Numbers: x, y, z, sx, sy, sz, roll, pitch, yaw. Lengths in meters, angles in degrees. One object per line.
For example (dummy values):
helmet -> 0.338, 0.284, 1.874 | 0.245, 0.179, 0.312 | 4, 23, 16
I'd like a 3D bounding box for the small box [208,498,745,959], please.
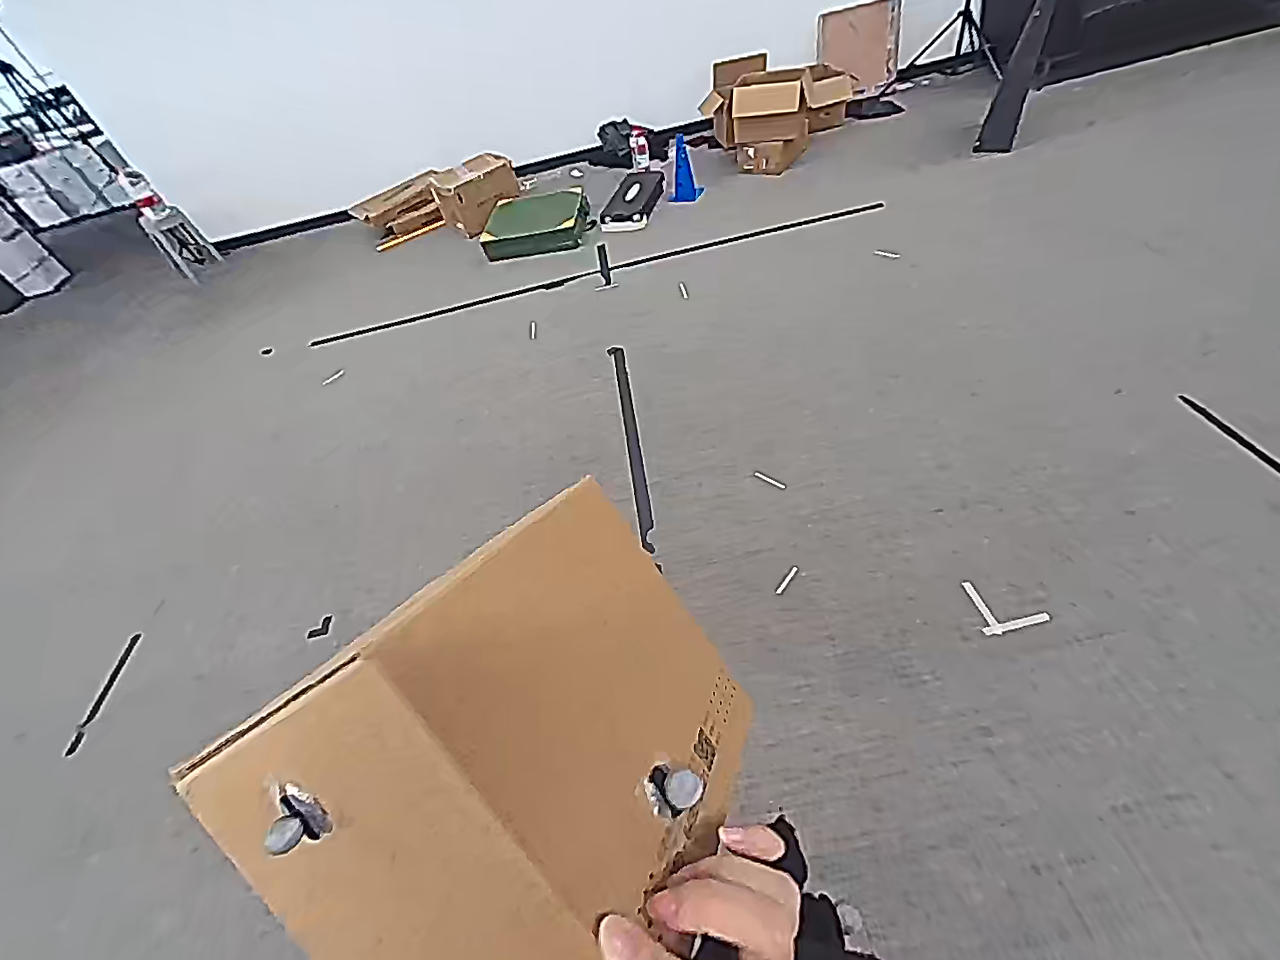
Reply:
small box -> -0.071, 0.144, 0.296 | 0.179, 0.176, 0.168 | -32, 6, 27
